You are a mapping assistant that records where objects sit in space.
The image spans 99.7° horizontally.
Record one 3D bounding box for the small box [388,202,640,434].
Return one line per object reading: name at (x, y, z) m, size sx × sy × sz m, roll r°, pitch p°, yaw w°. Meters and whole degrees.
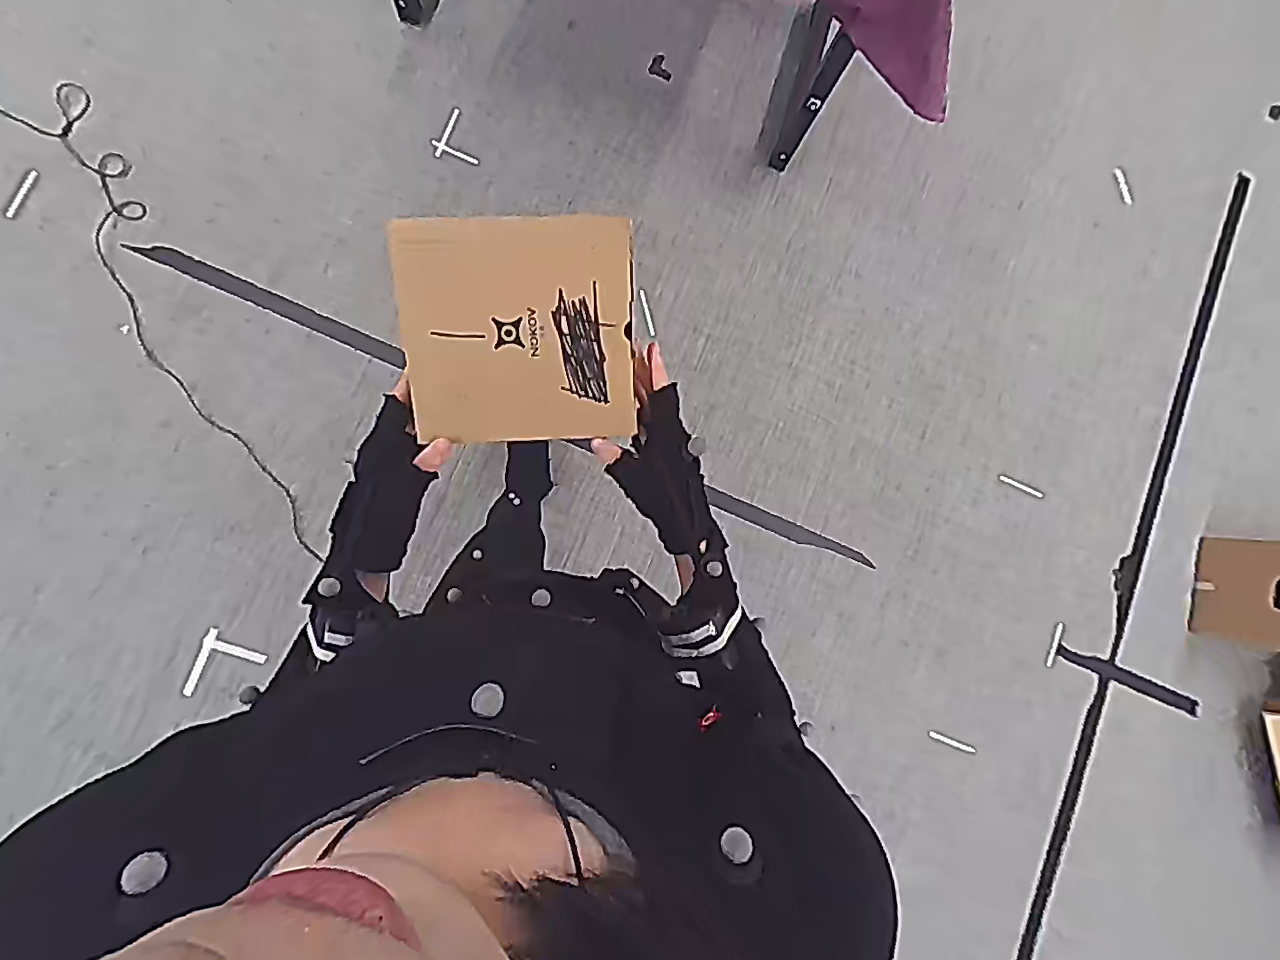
small box at (-0.095, -0.139, 0.479) m, size 0.179 × 0.176 × 0.168 m, roll -2°, pitch 106°, yaw -4°
